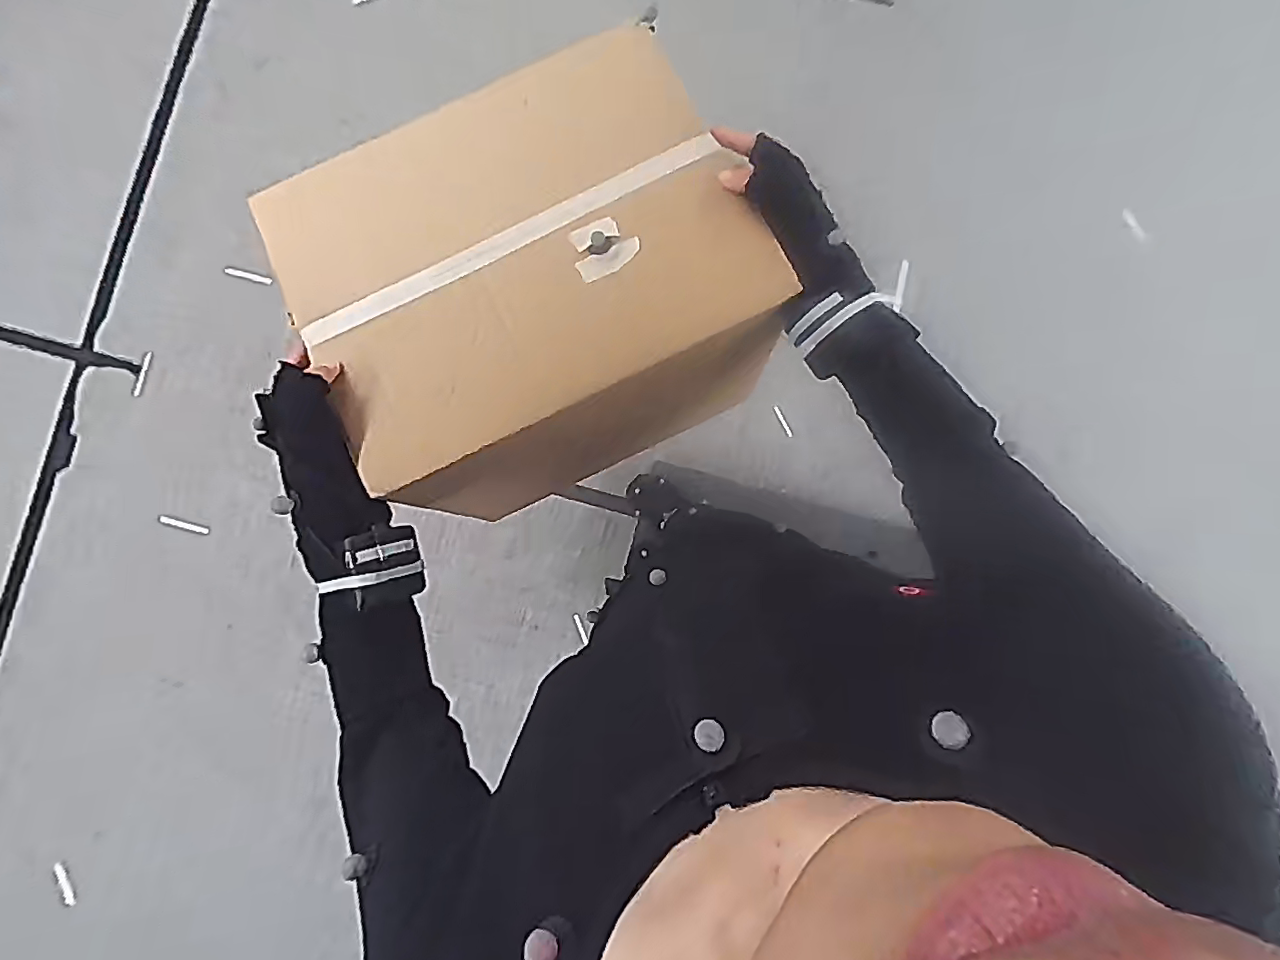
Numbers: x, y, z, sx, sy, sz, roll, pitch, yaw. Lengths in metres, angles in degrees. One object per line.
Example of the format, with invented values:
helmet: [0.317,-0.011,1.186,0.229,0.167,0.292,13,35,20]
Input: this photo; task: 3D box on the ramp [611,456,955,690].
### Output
ramp: [0.448,0.284,1.578,0.991,0.206,0.509,12,85,0]

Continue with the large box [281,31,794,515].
large box: [-0.097,-0.192,0.641,0.408,0.320,0.320,-25,81,-1]
